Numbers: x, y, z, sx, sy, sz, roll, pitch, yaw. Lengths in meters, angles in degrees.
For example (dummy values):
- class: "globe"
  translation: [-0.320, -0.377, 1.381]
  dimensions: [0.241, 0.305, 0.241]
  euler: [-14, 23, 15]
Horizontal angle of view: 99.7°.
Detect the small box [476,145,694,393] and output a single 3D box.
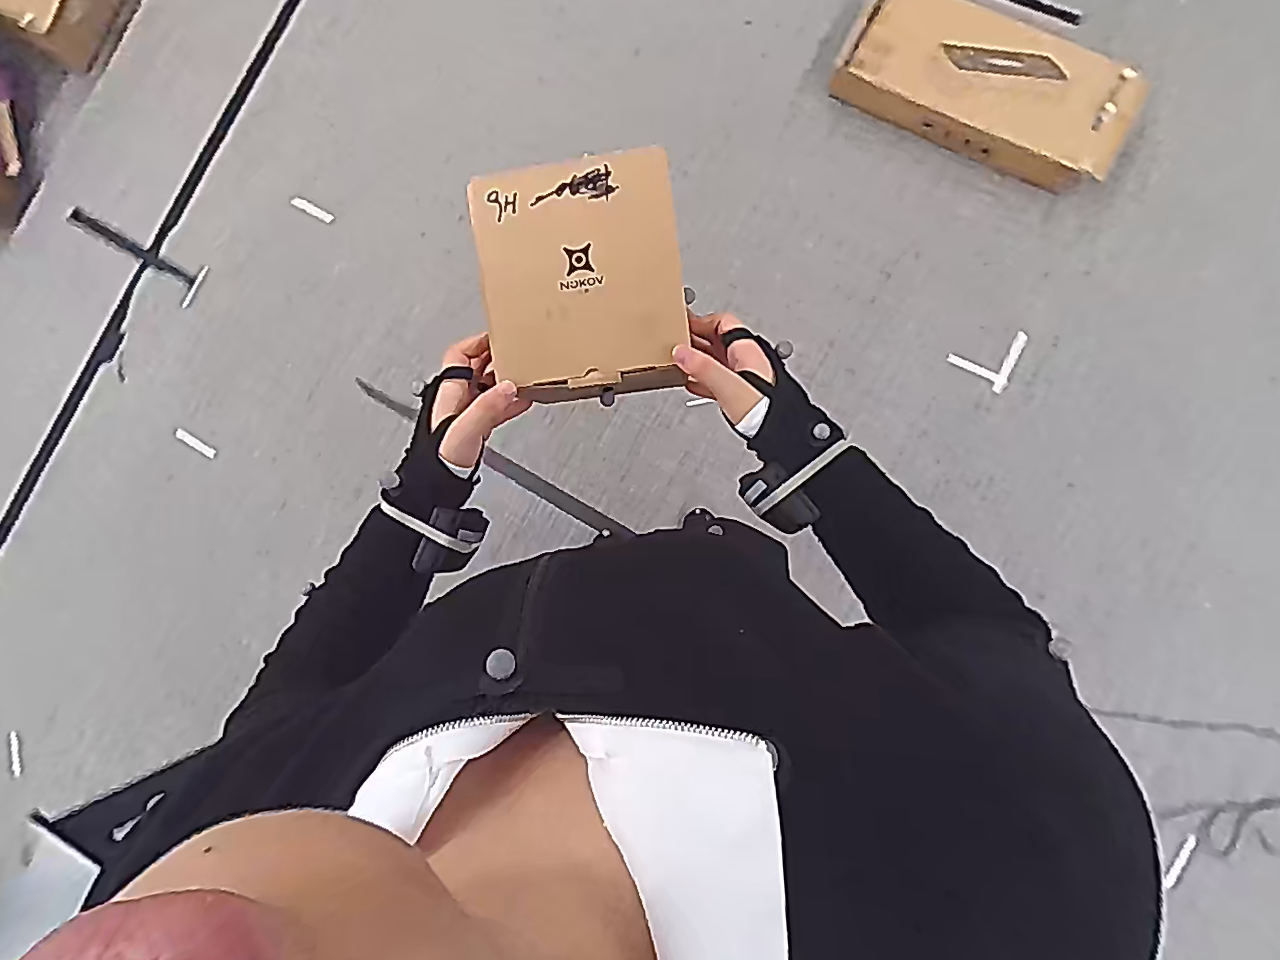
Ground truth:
- class: "small box"
  translation: [-0.038, -0.178, 0.517]
  dimensions: [0.168, 0.176, 0.179]
  euler: [-7, 96, 4]
